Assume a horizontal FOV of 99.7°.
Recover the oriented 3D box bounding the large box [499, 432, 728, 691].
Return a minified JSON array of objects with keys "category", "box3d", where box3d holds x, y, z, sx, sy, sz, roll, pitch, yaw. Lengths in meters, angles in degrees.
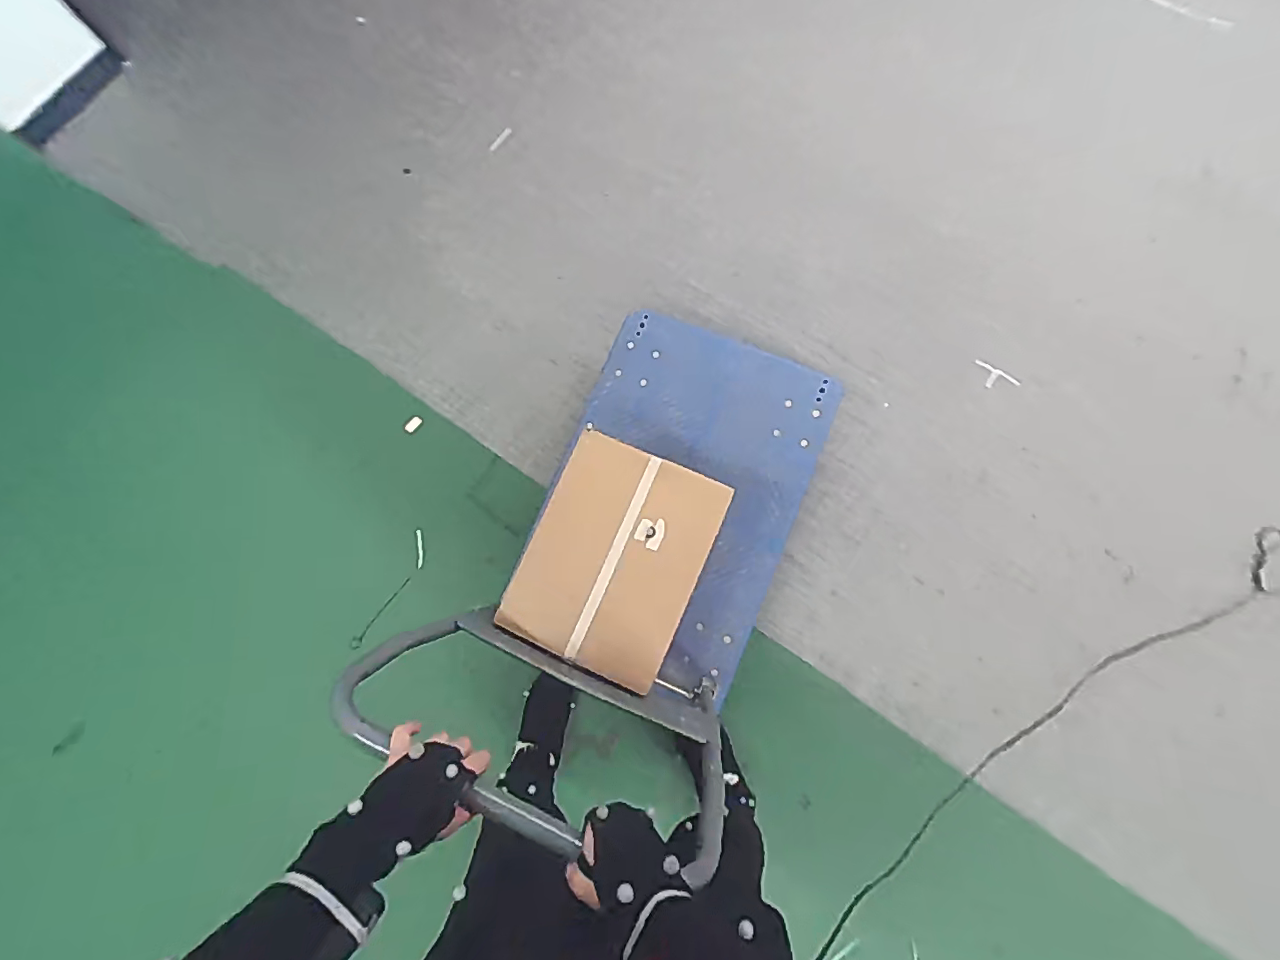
[{"category":"large box","box3d":[-0.037,0.172,1.148,0.320,0.320,0.408,23,81,8]}]
